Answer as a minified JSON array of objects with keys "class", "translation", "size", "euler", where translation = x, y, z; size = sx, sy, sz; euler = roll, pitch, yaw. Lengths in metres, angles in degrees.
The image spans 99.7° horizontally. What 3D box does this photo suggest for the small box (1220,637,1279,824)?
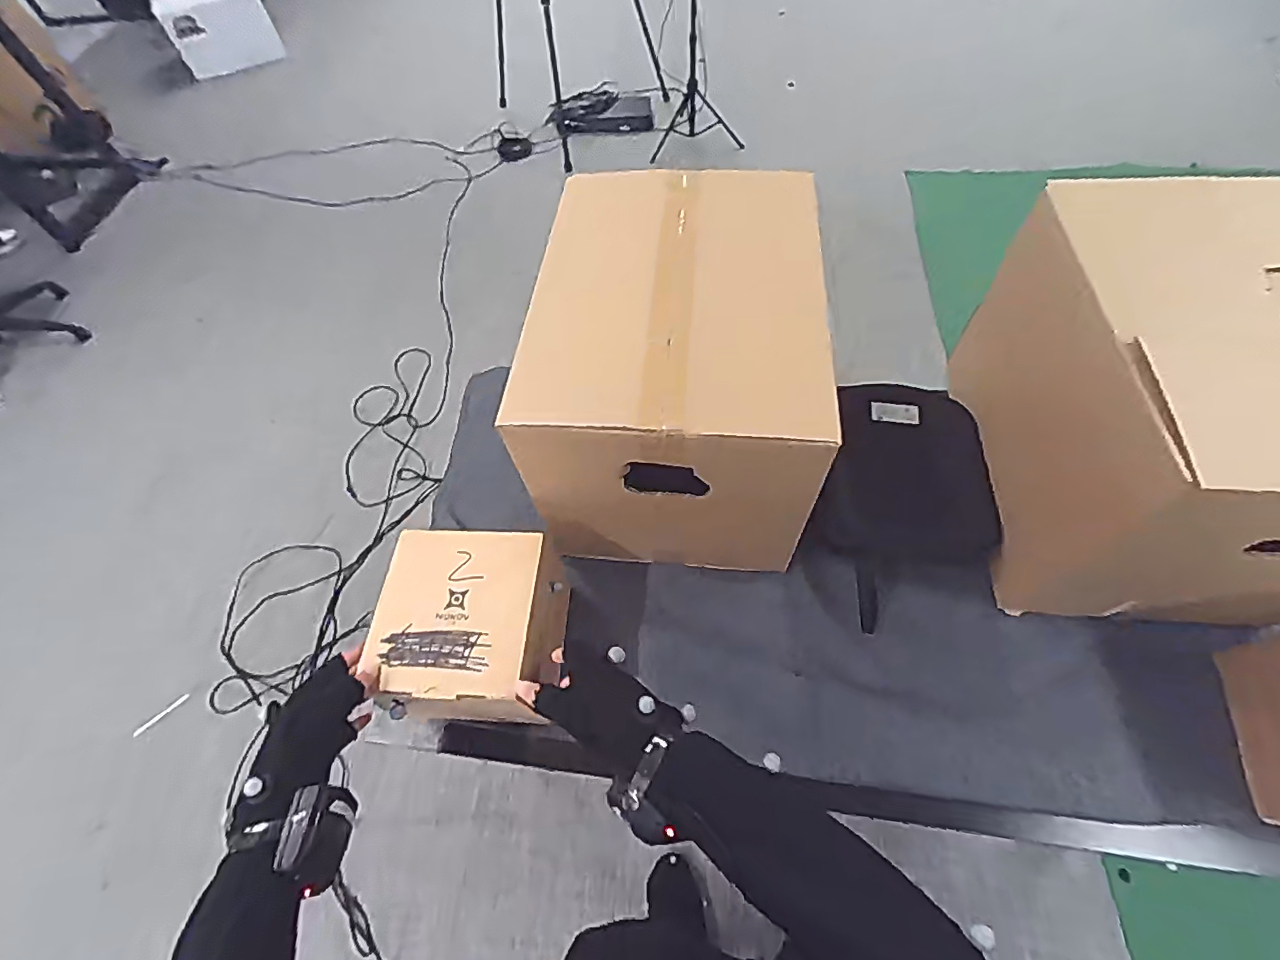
[{"class":"small box","translation":[0.722,0.245,0.511],"size":[0.168,0.176,0.179],"euler":[8,63,11]}]
